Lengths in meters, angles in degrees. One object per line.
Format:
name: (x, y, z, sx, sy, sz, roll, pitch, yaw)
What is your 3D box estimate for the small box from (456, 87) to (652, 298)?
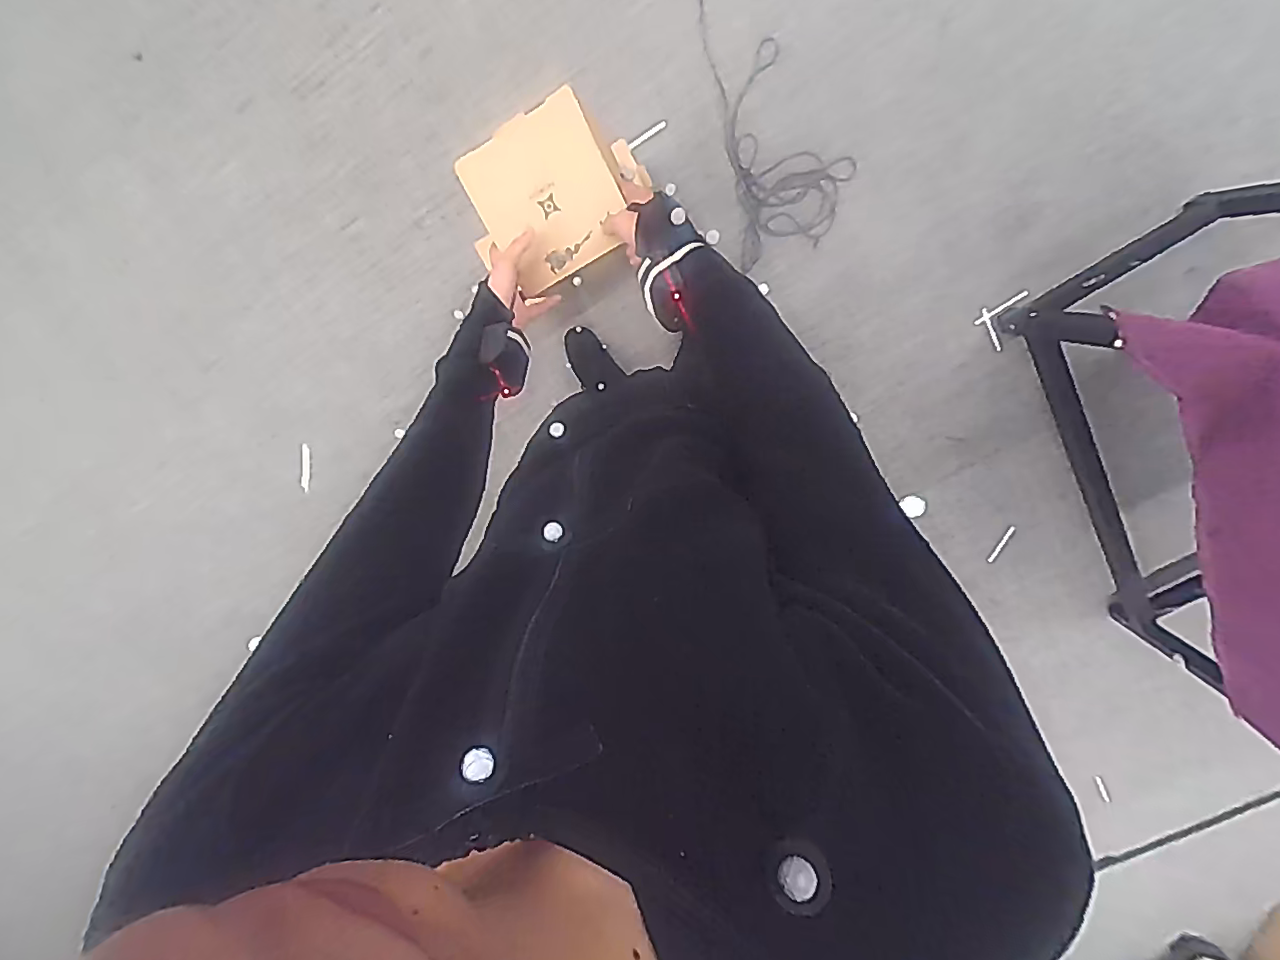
small box: (-0.099, -0.356, 0.710, 0.168, 0.176, 0.179, -24, 105, 17)

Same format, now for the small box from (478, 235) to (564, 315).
small box: (-0.225, -0.488, 1.203, 0.179, 0.176, 0.168, -26, 109, 11)
